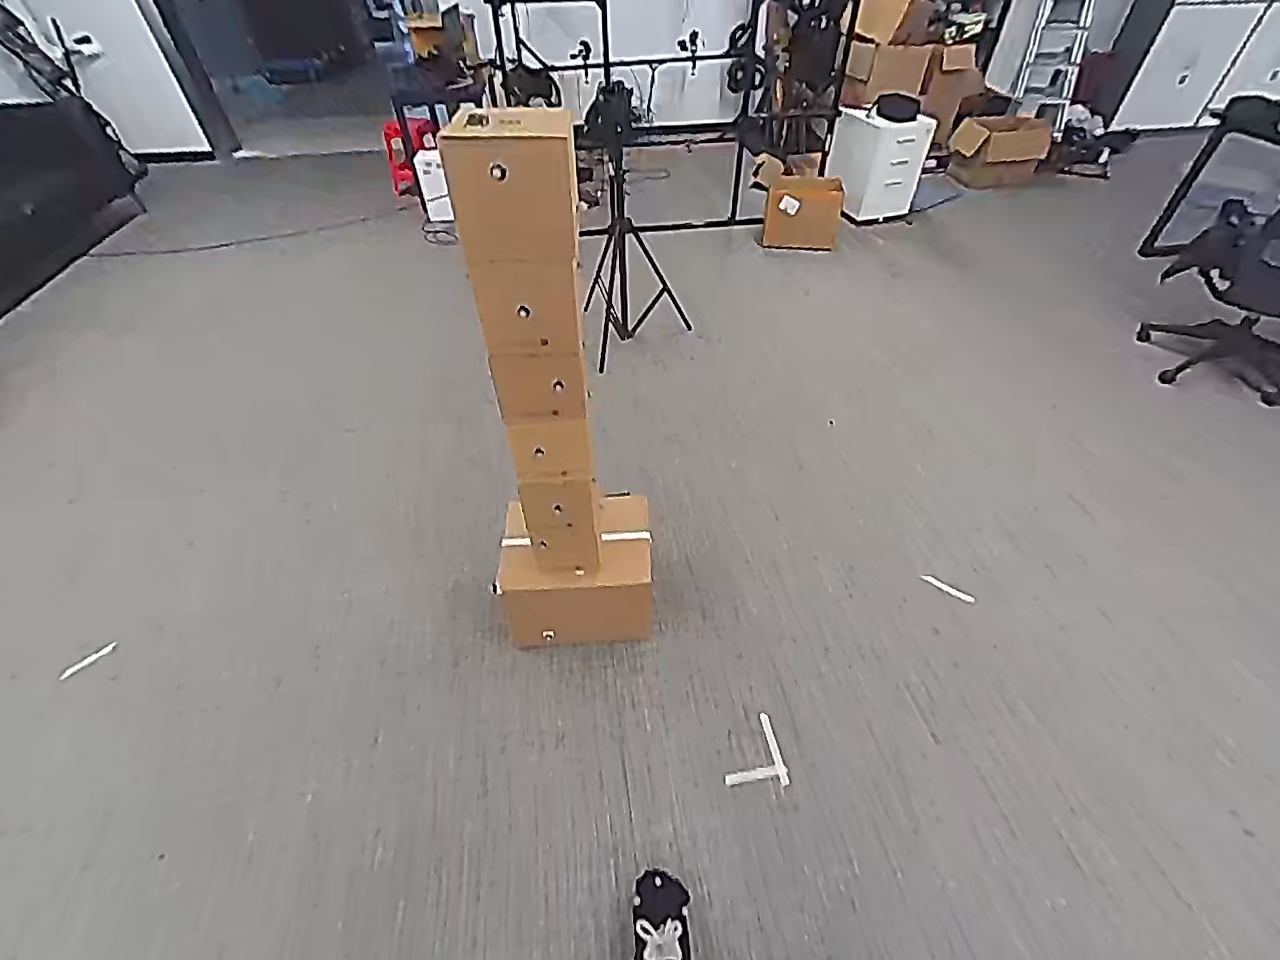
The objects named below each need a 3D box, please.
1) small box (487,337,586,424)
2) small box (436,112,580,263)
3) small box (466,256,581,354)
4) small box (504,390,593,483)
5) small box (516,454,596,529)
[{"bbox_3d":[-0.196,-0.223,1.071,0.168,0.176,0.179,-4,44,-4],"label":"small box"},{"bbox_3d":[-0.188,-0.447,0.830,0.179,0.176,0.168,-2,45,-3],"label":"small box"},{"bbox_3d":[-0.192,-0.335,0.950,0.168,0.176,0.179,-2,45,-3],"label":"small box"},{"bbox_3d":[-0.193,-0.105,1.183,0.168,0.176,0.179,-4,45,-3],"label":"small box"},{"bbox_3d":[-0.194,0.007,1.301,0.168,0.176,0.179,-2,46,-2],"label":"small box"}]
